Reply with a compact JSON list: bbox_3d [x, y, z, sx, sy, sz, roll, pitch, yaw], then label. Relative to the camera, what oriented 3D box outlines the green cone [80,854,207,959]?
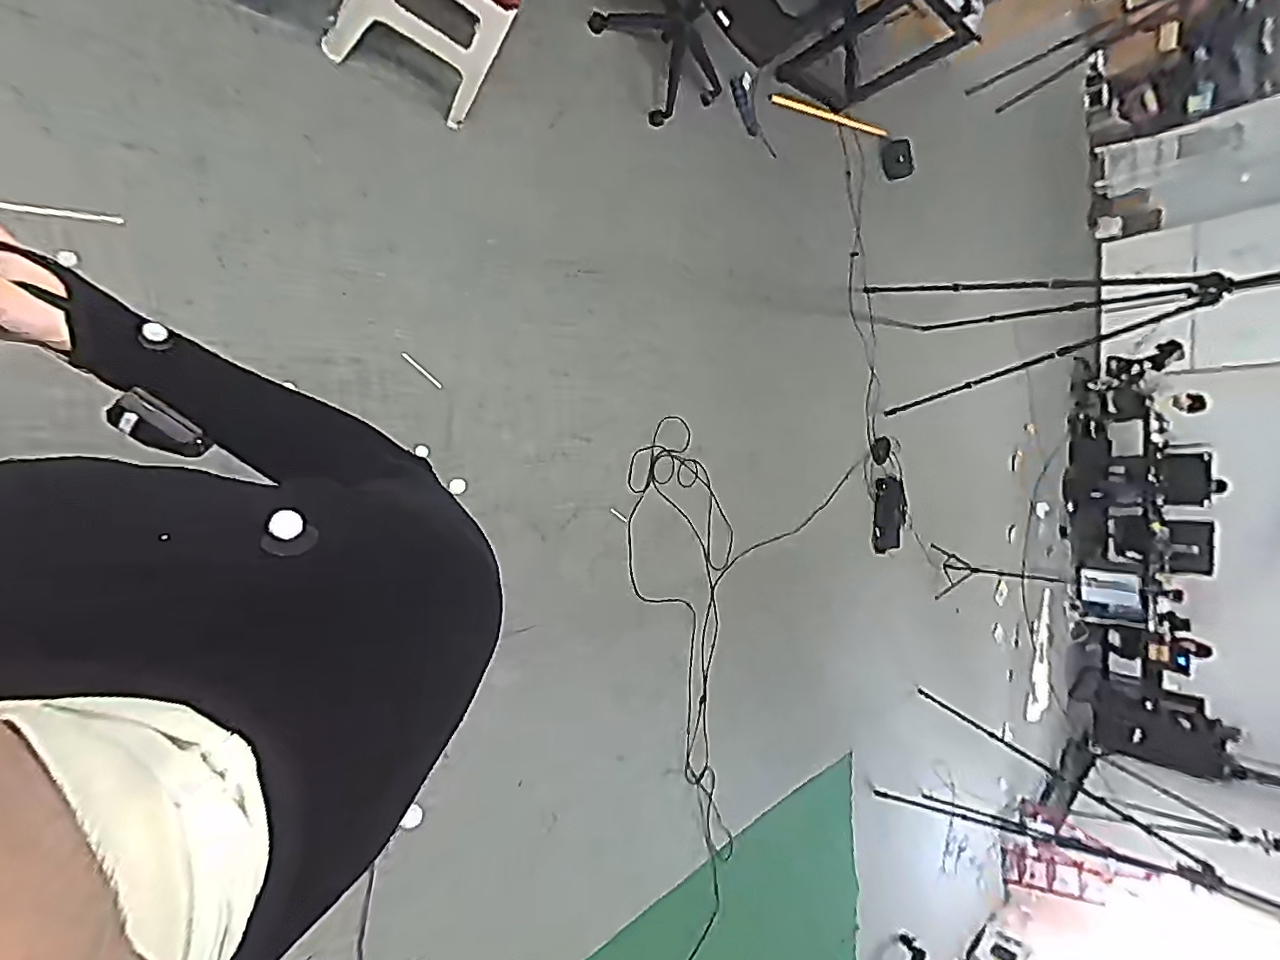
[{"bbox_3d":[-1.020,1.005,1.114,0.202,0.368,0.200,-9,98,-41],"label":"green cone"}]
